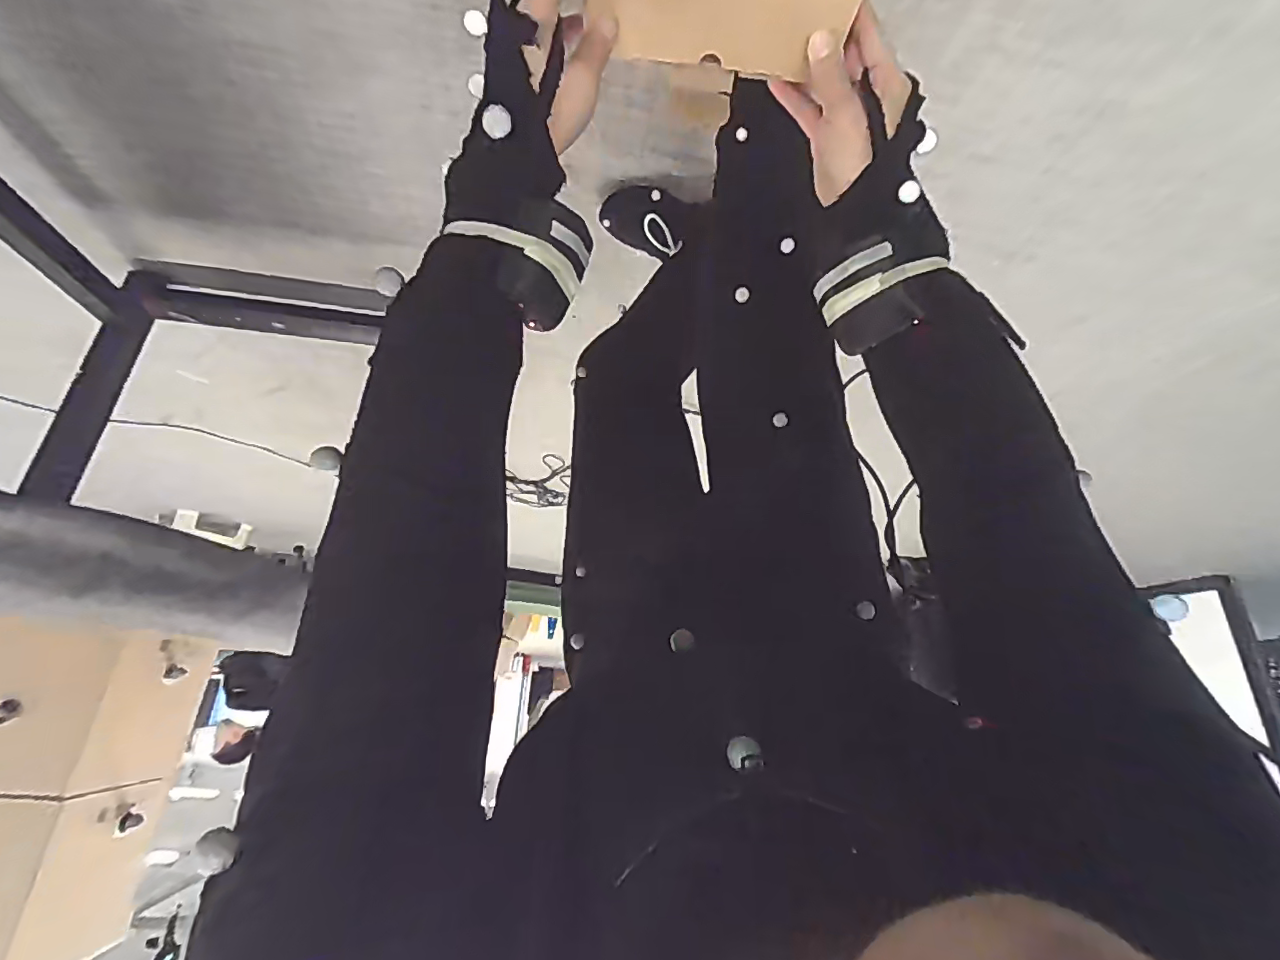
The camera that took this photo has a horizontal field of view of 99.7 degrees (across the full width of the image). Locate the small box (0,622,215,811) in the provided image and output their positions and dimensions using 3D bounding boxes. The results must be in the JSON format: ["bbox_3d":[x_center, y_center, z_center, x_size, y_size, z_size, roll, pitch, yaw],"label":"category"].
[{"bbox_3d":[-0.631,0.253,0.599,0.179,0.176,0.168,5,158,-6],"label":"small box"}]

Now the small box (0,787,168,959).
[{"bbox_3d":[-0.638,0.403,0.539,0.179,0.176,0.168,4,159,-5],"label":"small box"}]
